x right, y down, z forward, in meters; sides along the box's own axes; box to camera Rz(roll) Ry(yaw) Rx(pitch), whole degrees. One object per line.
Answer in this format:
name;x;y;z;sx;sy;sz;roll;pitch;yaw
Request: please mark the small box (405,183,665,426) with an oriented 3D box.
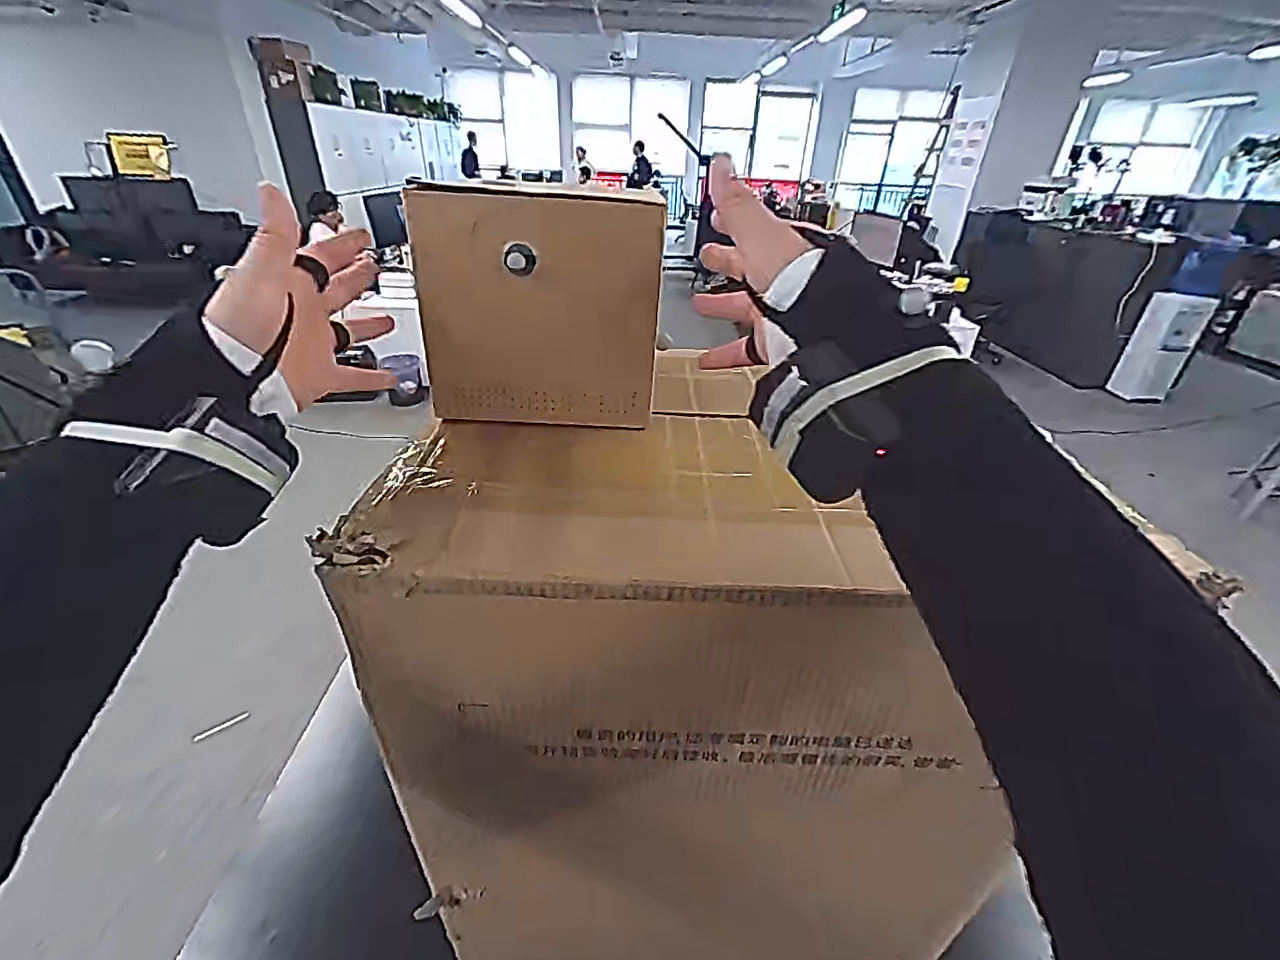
small box;-0.073;-0.154;0.464;0.179;0.176;0.168;3;30;-2
